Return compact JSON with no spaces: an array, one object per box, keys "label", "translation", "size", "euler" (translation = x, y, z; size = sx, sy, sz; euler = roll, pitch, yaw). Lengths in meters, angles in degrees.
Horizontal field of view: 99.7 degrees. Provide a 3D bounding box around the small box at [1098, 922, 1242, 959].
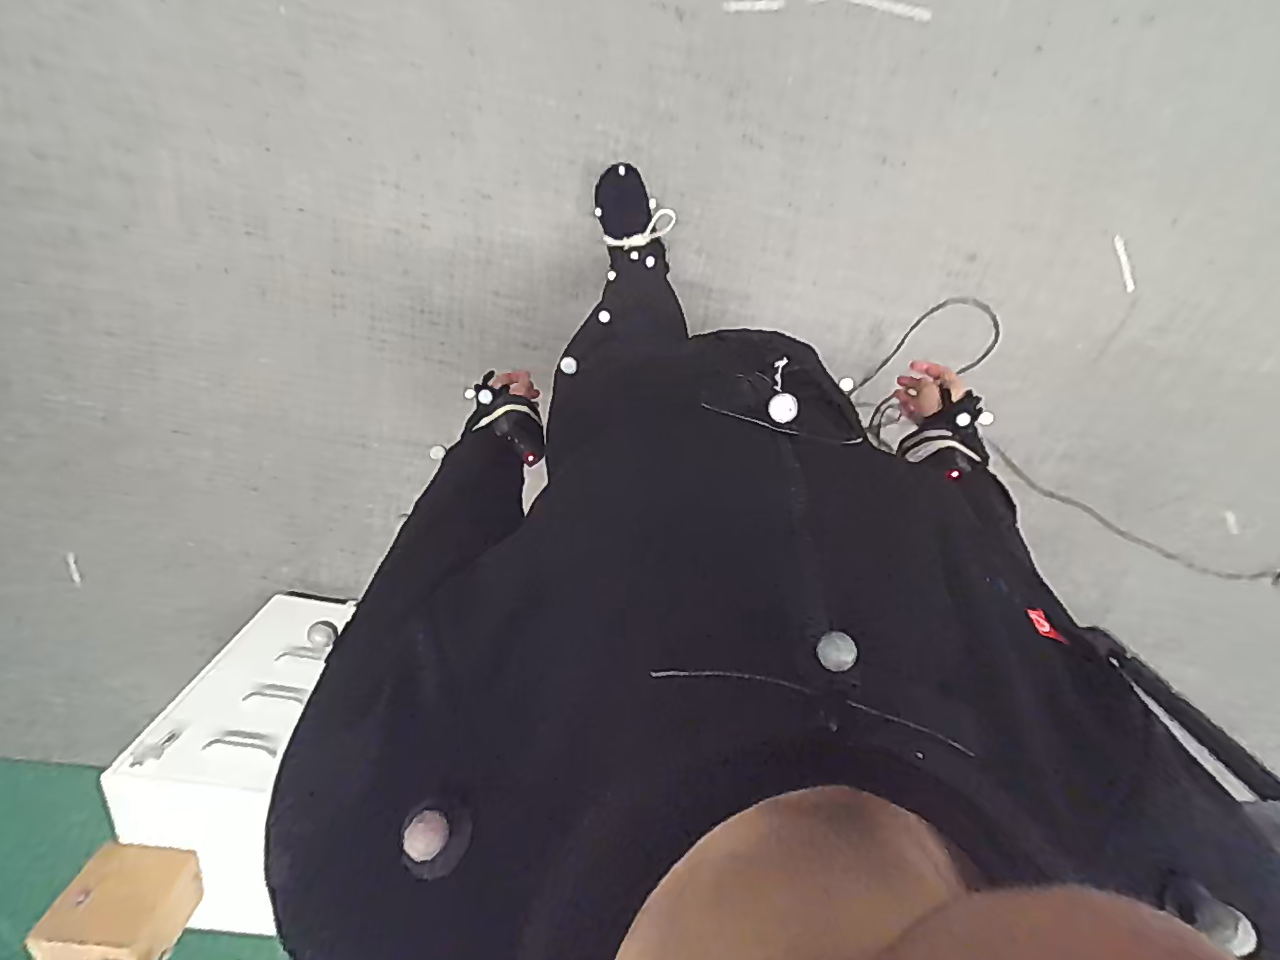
[{"label":"small box","translation":[1.000,0.943,0.984],"size":[0.179,0.176,0.168],"euler":[5,116,-5]}]
